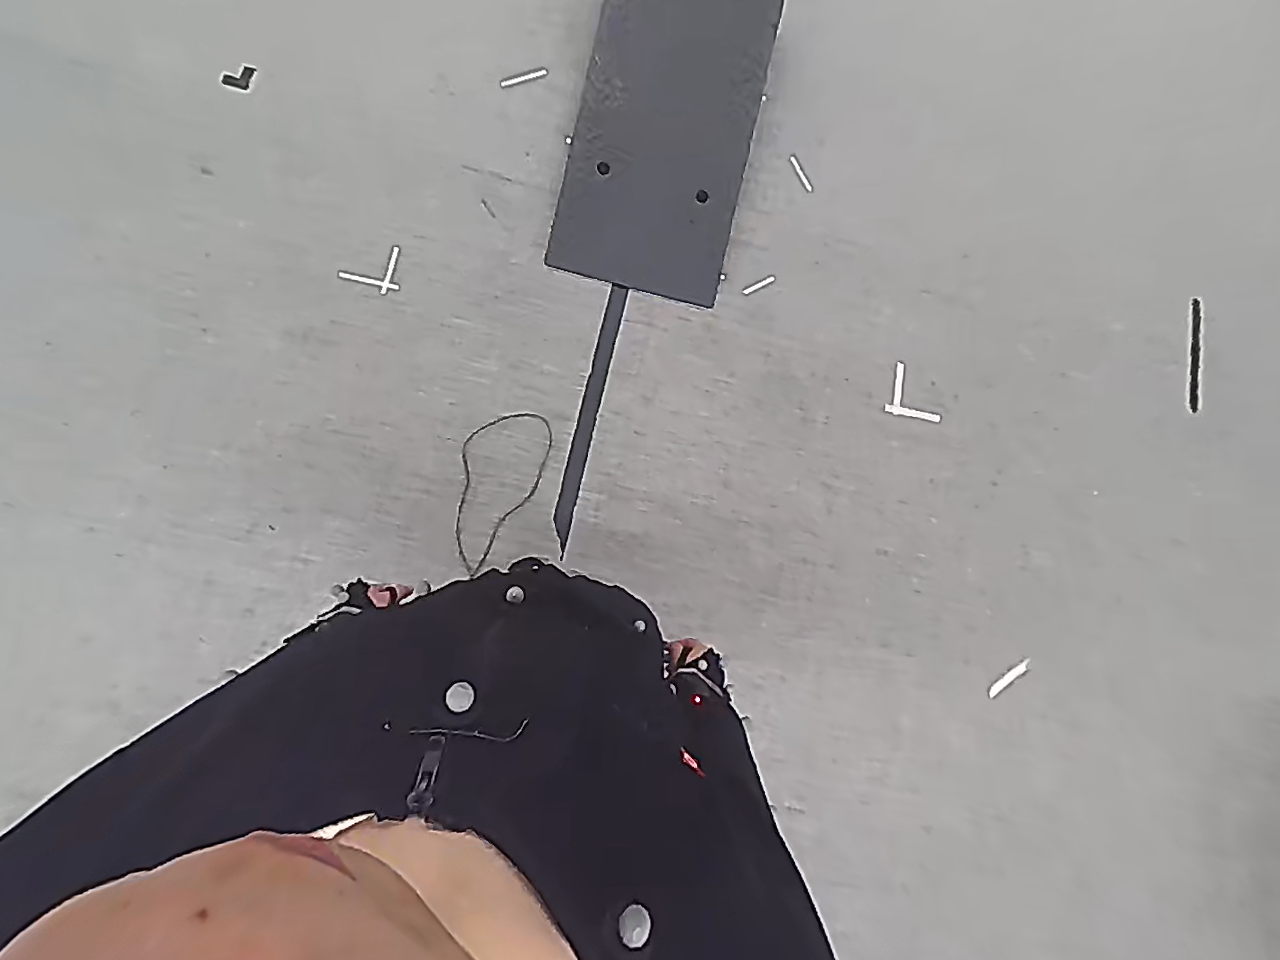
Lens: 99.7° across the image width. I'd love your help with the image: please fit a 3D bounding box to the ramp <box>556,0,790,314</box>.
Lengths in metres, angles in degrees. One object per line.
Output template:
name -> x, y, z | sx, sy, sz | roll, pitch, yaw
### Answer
ramp -> 0.104, -1.008, 1.526 | 0.509, 0.206, 0.991 | 11, 81, -6
